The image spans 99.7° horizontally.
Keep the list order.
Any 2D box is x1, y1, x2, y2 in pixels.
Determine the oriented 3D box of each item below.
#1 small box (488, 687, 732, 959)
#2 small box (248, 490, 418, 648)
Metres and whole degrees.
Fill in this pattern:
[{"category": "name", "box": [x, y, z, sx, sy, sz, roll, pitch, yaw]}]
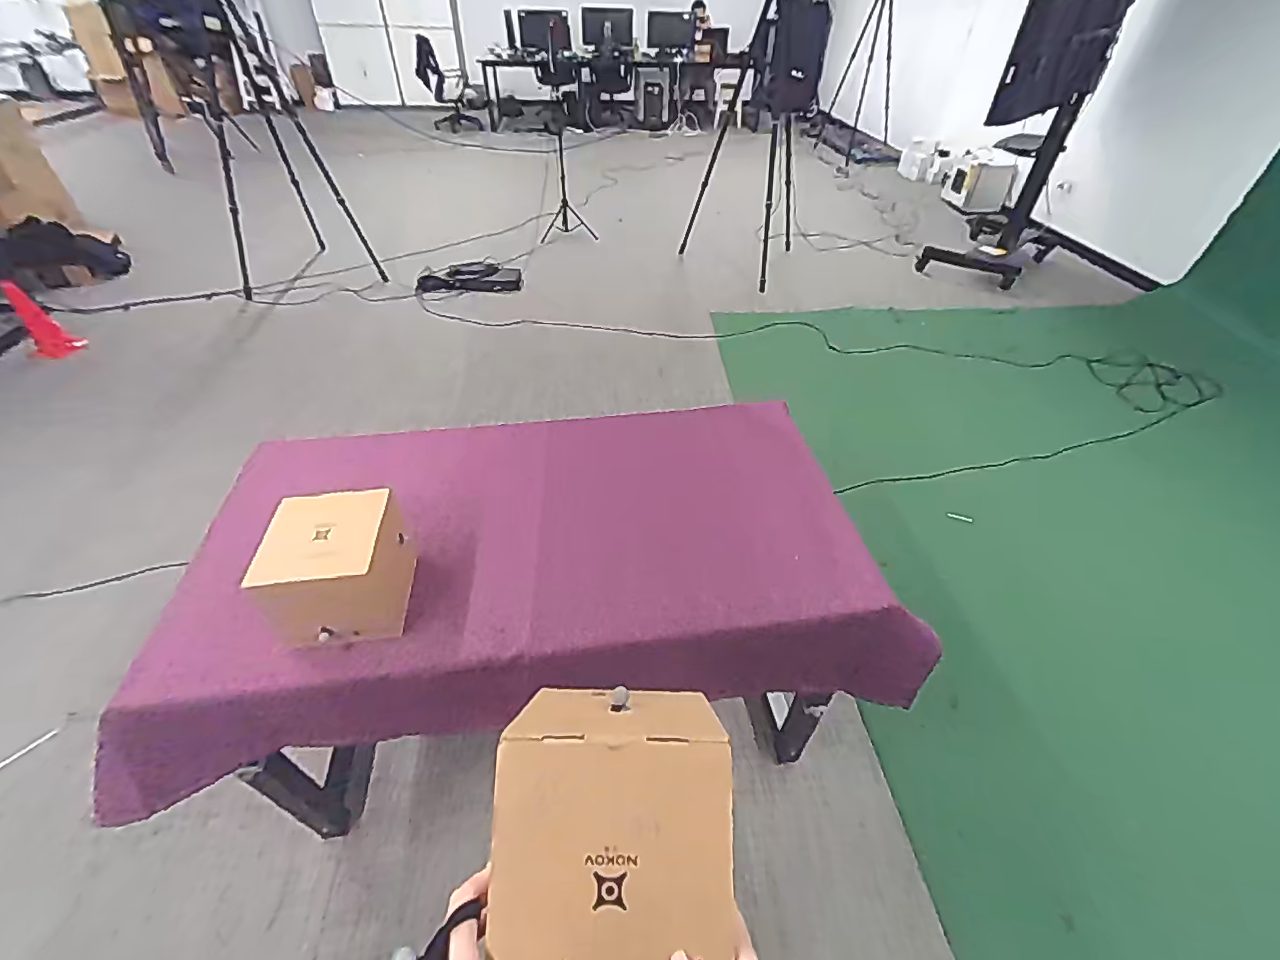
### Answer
[{"category": "small box", "box": [-0.018, 0.277, 0.451, 0.168, 0.176, 0.179, 1, 79, 1]}, {"category": "small box", "box": [-0.465, 0.140, 0.856, 0.168, 0.176, 0.179, -5, 44, -6]}]
